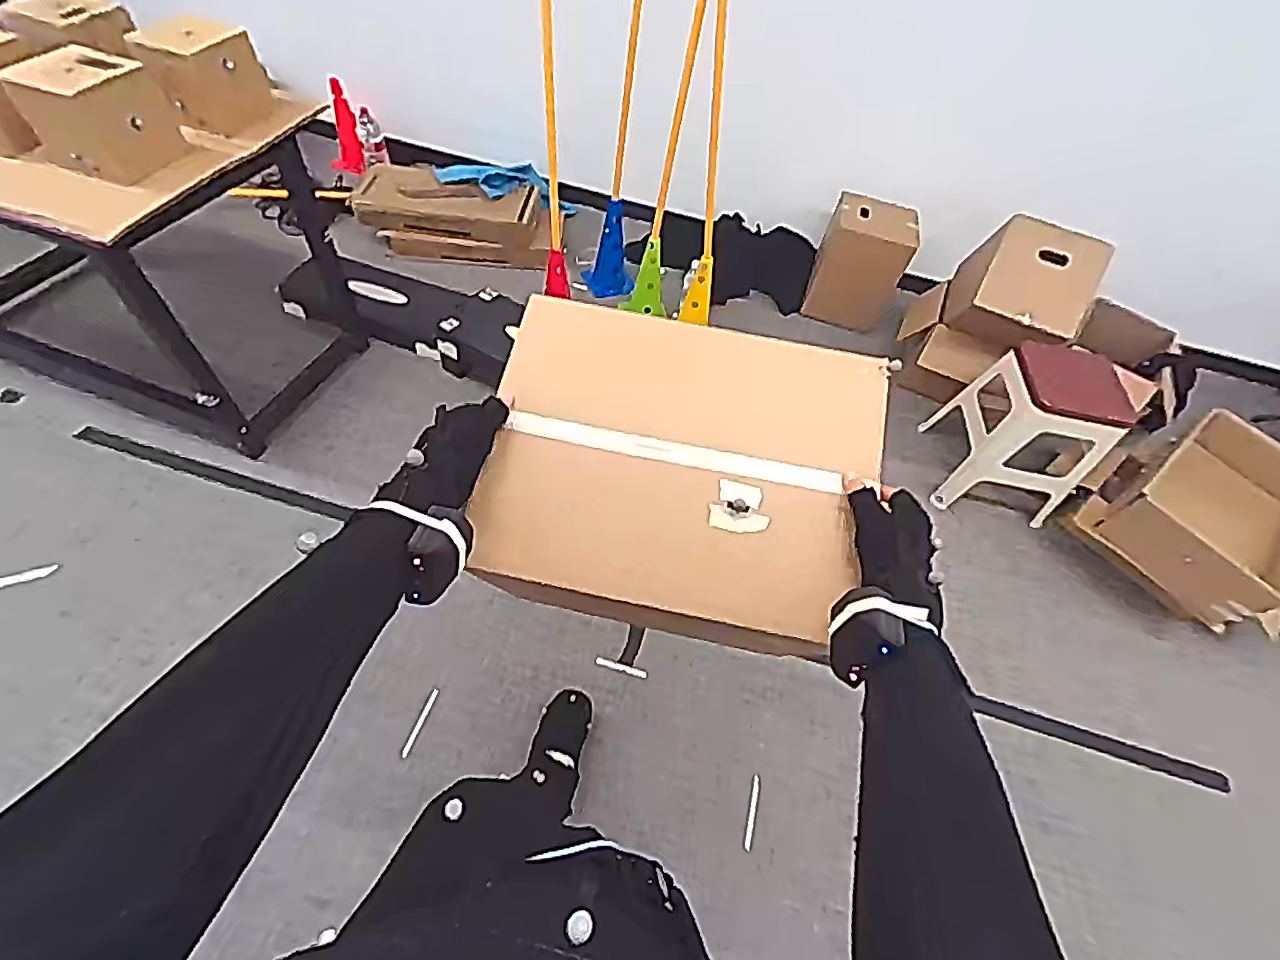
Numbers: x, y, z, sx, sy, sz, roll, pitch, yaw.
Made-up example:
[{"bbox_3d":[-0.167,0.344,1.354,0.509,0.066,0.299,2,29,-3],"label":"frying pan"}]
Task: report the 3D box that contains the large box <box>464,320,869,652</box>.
[{"bbox_3d":[0.037,0.033,0.724,0.408,0.320,0.320,12,72,2],"label":"large box"}]
